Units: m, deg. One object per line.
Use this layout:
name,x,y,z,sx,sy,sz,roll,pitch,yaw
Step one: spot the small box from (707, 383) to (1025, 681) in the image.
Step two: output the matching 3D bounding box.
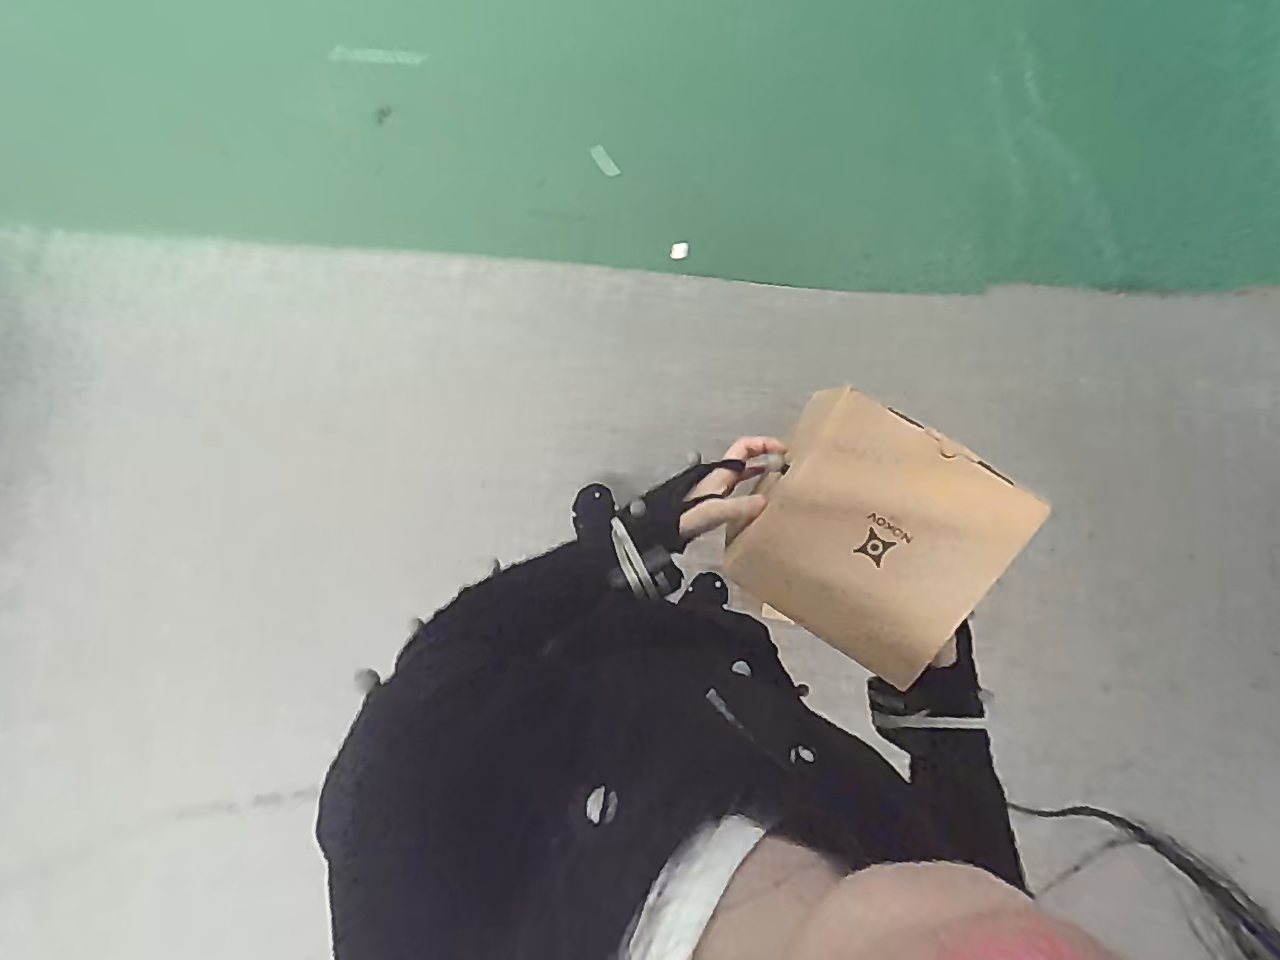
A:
small box,0.179,0.034,0.485,0.168,0.176,0.179,32,101,4
